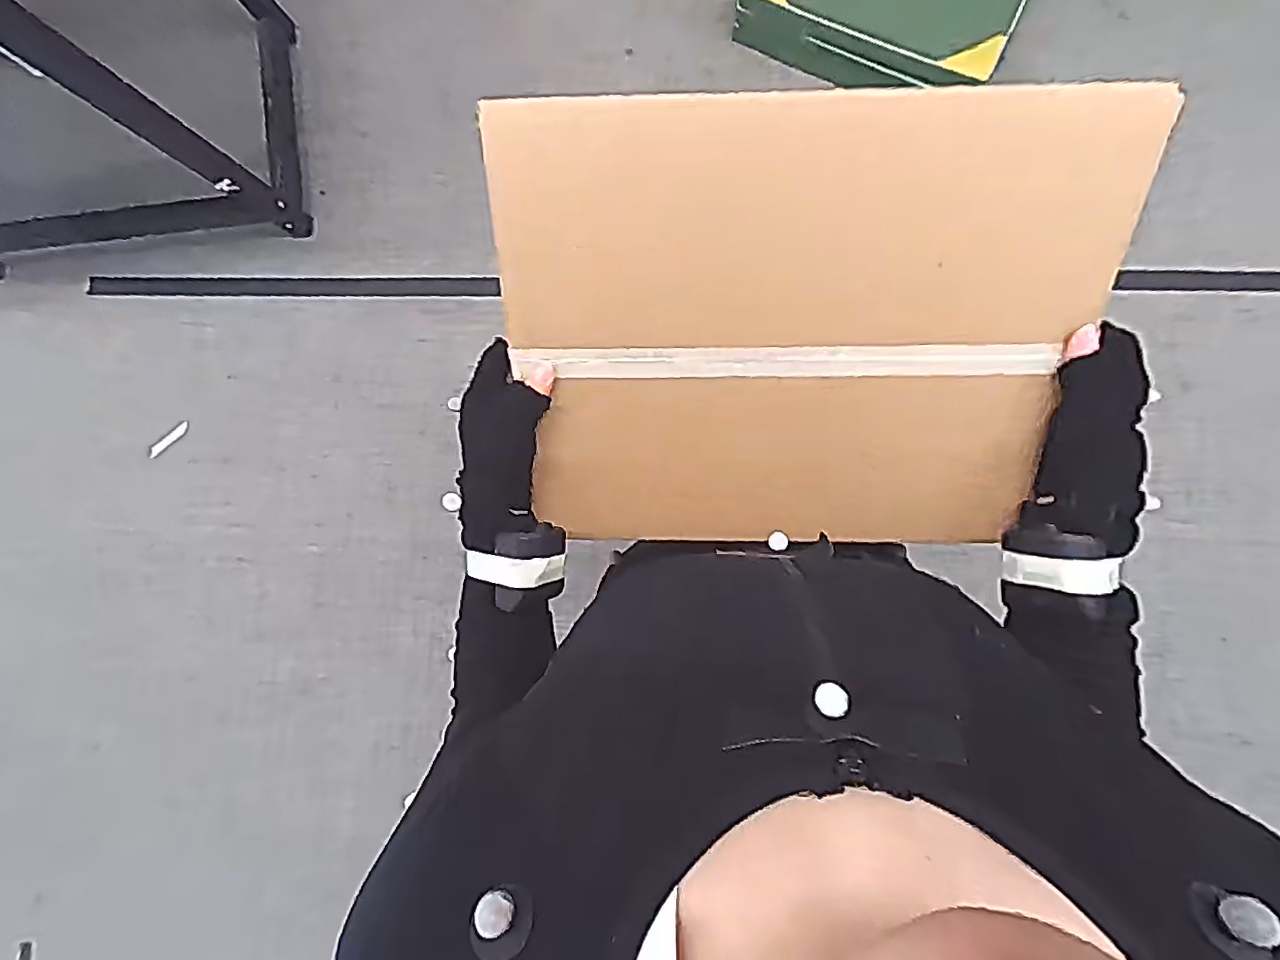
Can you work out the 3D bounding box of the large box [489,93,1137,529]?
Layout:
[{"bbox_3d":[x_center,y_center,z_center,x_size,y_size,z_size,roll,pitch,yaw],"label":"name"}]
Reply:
[{"bbox_3d":[0.113,-0.164,0.533,0.408,0.320,0.320,0,118,3],"label":"large box"}]
